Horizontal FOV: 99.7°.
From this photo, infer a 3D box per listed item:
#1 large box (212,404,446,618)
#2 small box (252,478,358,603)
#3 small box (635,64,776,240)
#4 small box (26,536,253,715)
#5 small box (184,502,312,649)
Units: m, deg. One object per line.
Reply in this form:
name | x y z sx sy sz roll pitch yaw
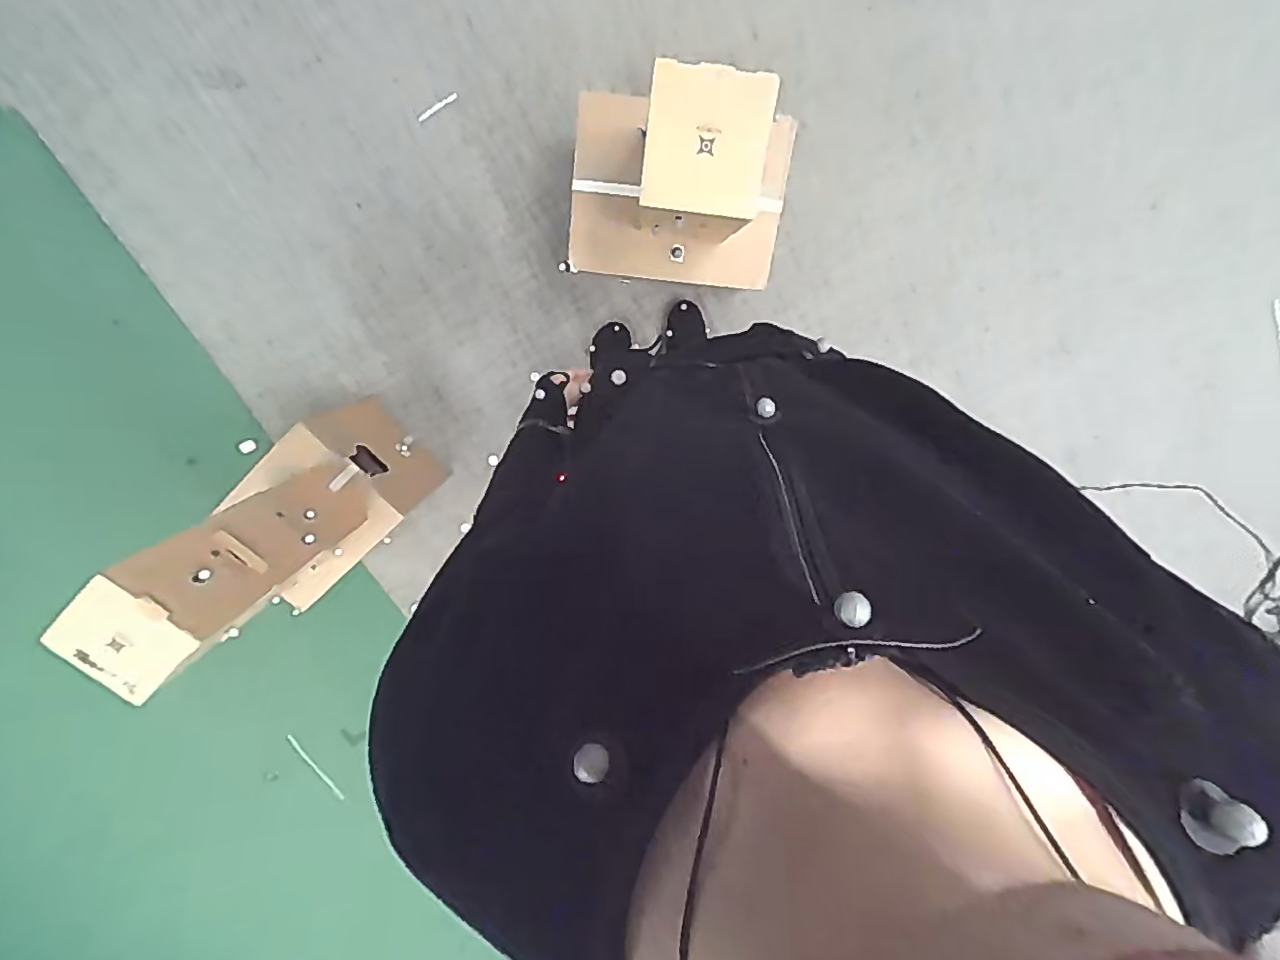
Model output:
large box | -0.792 0.066 1.405 0.408 0.320 0.320 -40 102 14
small box | -0.756 0.123 1.166 0.168 0.176 0.179 -40 103 12
small box | 0.087 -0.464 0.794 0.168 0.176 0.179 7 106 -1
small box | -0.763 0.218 0.852 0.179 0.176 0.168 -40 103 11
small box | -0.757 0.168 1.009 0.179 0.176 0.168 -41 103 12
